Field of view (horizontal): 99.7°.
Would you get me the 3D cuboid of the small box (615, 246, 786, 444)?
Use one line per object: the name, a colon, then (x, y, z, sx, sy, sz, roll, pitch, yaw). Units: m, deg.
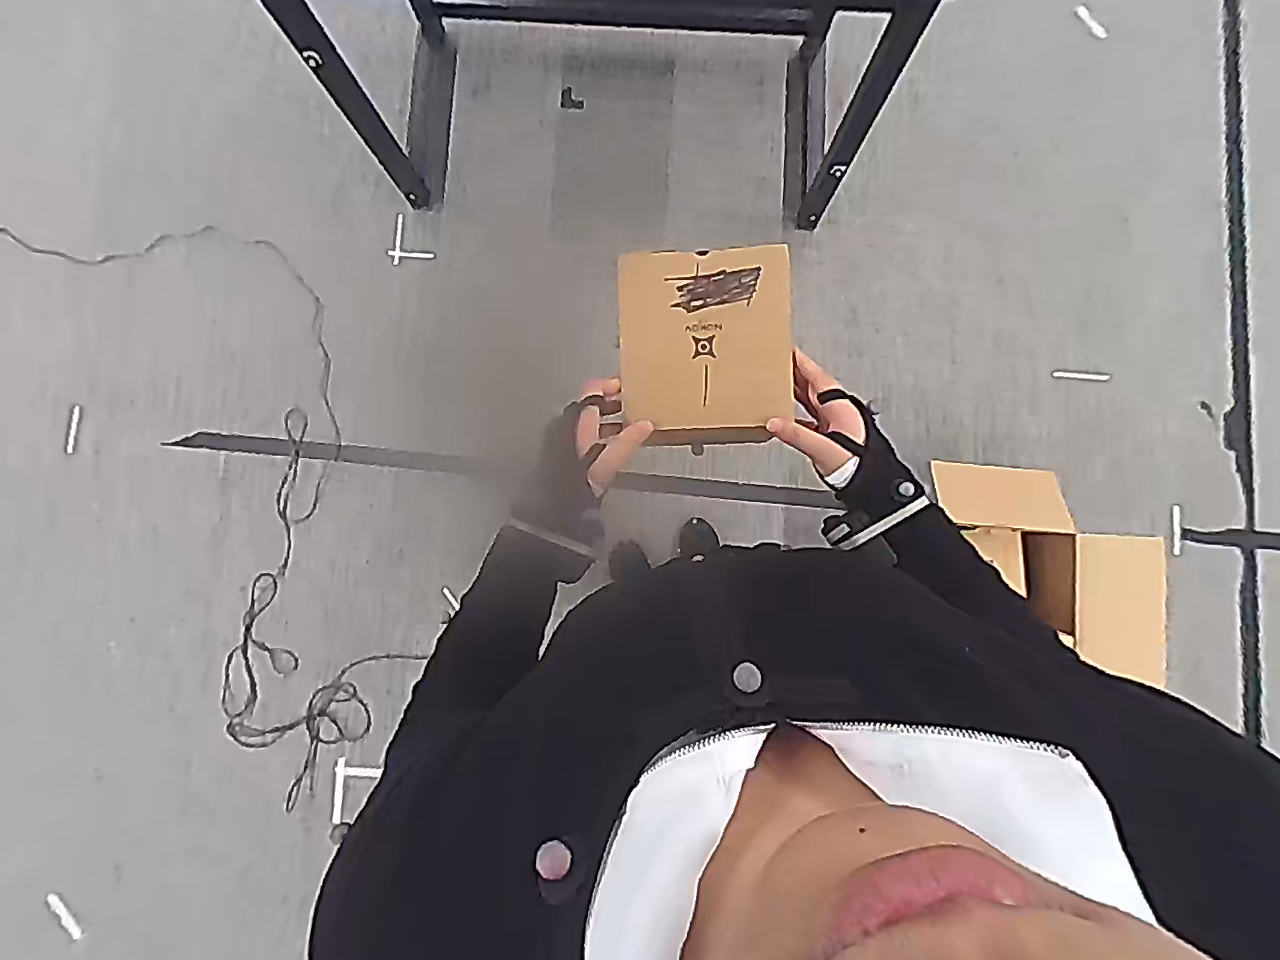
small box: (0.062, -0.136, 0.604, 0.168, 0.176, 0.179, -2, 89, 4)
